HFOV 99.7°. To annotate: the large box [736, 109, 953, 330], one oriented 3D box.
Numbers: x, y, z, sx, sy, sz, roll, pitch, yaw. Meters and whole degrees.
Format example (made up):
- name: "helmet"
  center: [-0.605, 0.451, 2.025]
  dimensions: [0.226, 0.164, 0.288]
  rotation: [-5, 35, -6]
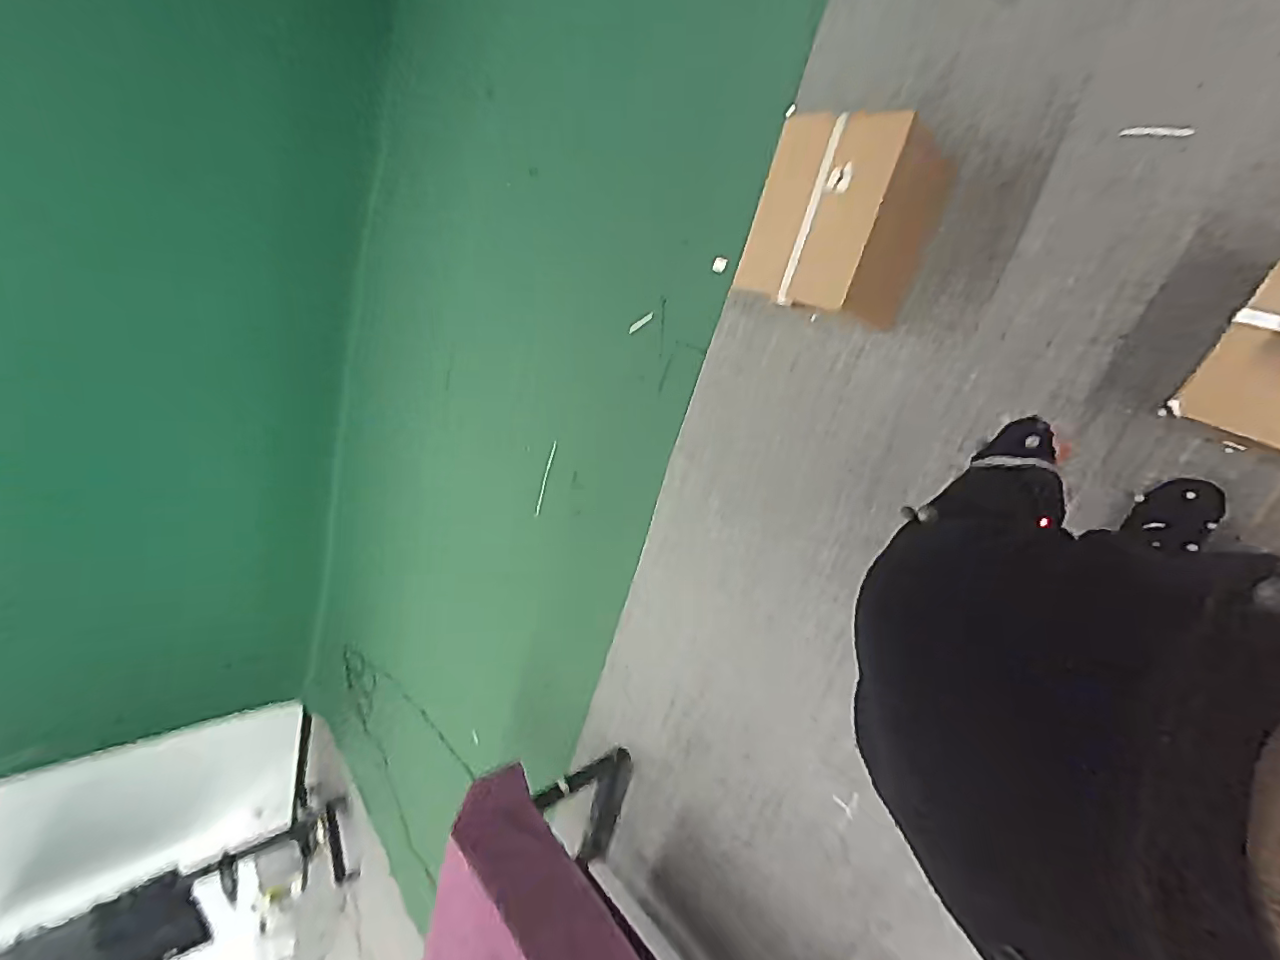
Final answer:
- name: "large box"
  center: [0.503, -0.629, 1.351]
  dimensions: [0.320, 0.320, 0.408]
  rotation: [32, 111, 38]
